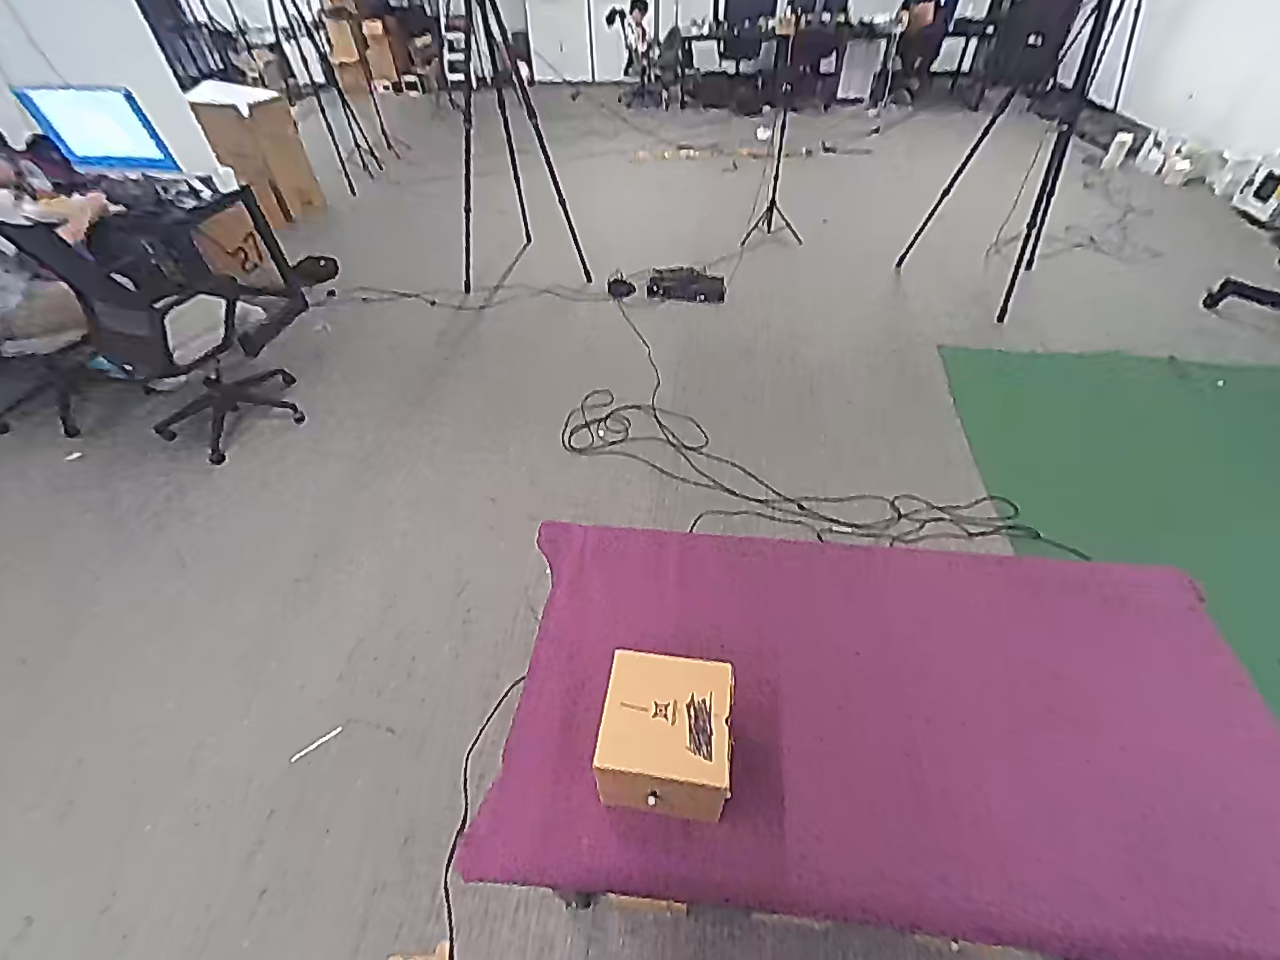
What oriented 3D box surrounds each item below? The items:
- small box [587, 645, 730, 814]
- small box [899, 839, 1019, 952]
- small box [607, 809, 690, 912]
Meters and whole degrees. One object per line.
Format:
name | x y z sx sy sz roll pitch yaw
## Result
small box | 0.033 0.365 0.787 0.179 0.176 0.168 5 45 8
small box | 0.700 0.935 1.215 0.179 0.176 0.168 5 47 9
small box | 0.027 0.904 1.282 0.179 0.176 0.168 4 46 6
